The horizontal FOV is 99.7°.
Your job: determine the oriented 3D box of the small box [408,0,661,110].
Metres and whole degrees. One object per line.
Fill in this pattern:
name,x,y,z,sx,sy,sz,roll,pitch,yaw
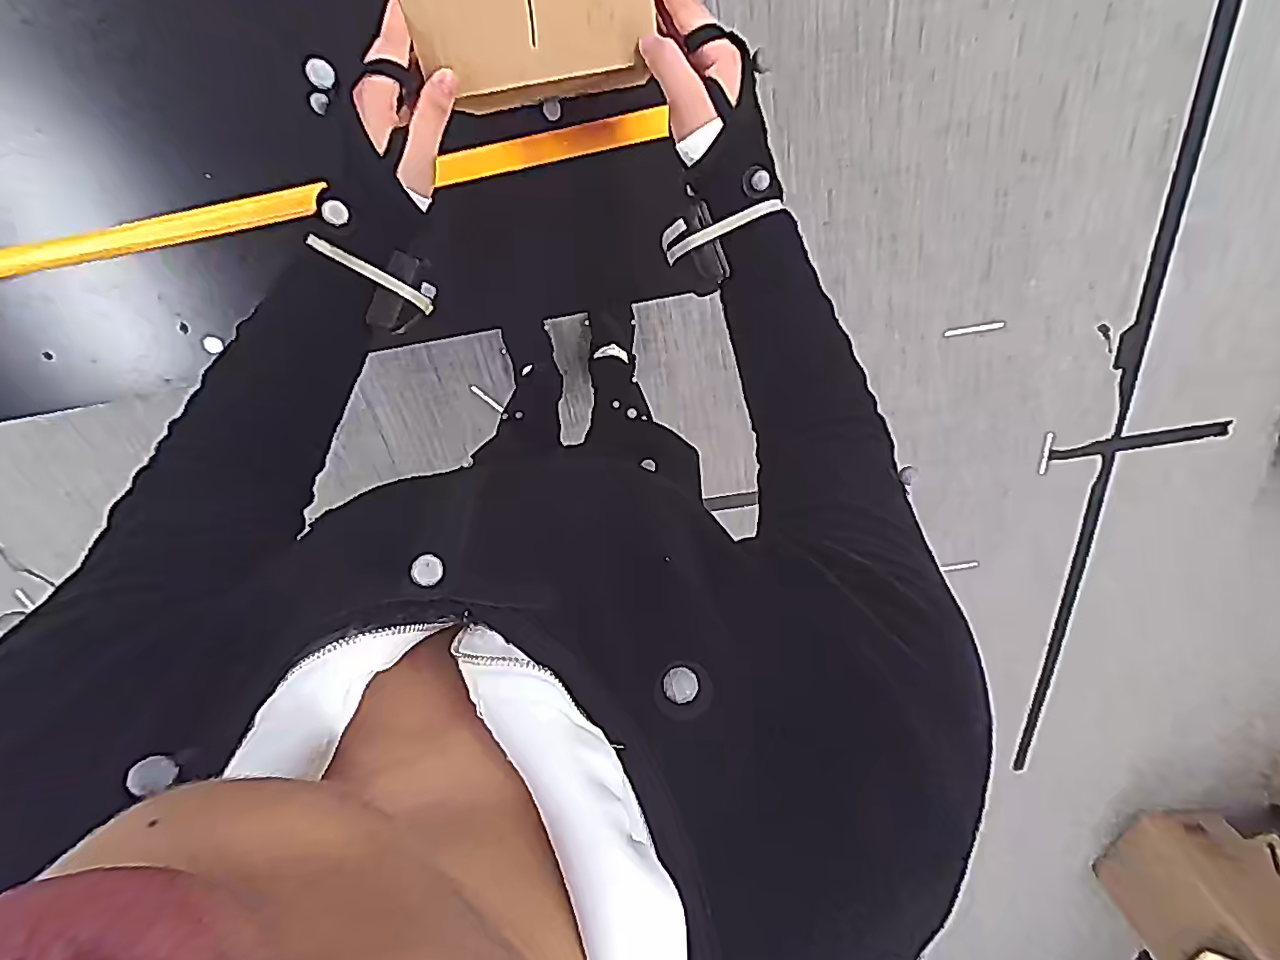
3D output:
small box,-0.081,-0.396,0.403,0.168,0.176,0.179,-9,122,2
